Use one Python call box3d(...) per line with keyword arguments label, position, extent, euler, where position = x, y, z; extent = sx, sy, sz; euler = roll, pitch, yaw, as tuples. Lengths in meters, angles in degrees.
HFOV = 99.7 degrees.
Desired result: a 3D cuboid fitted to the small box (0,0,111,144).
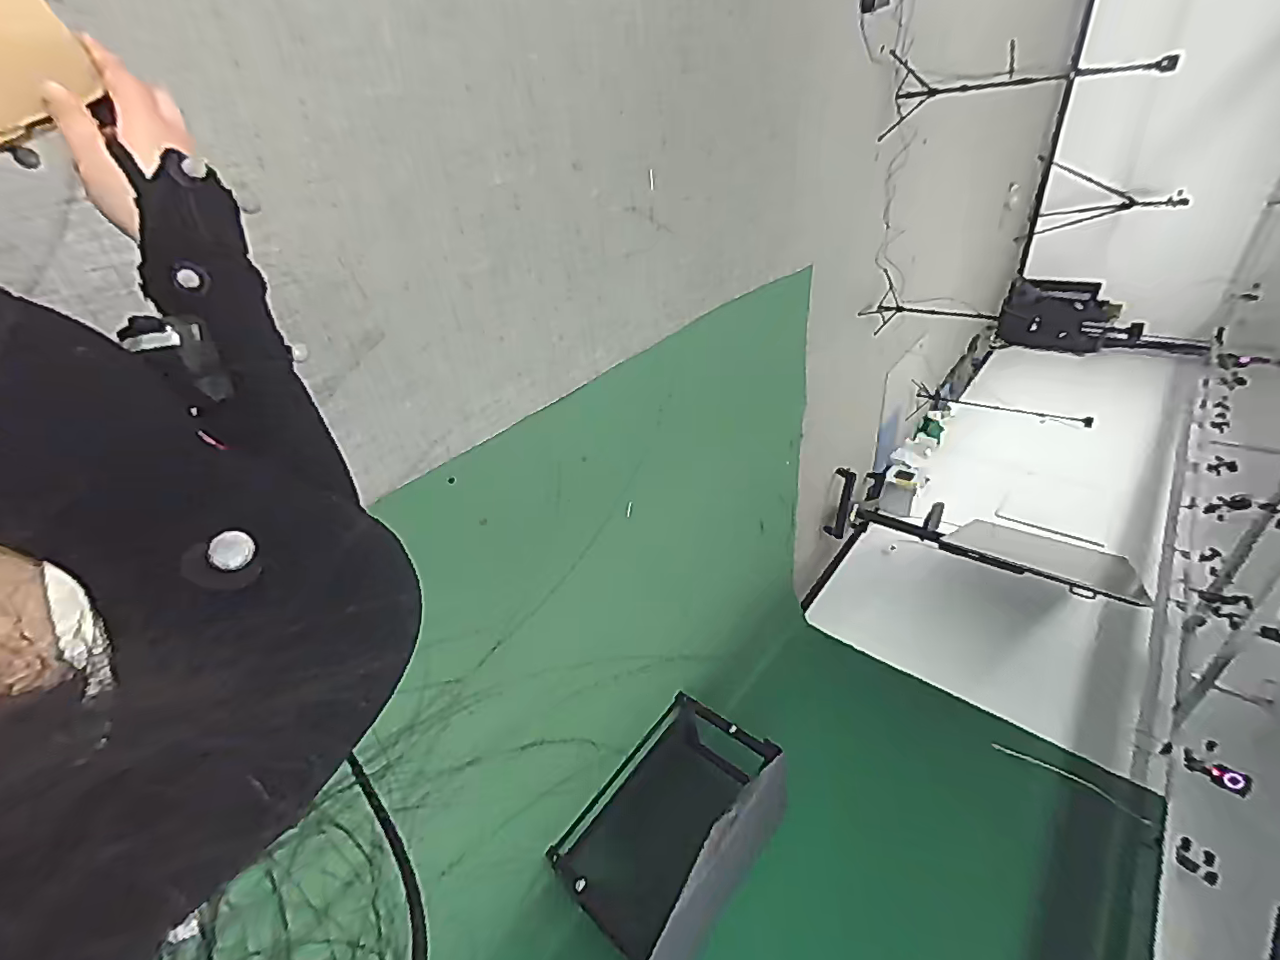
box3d(label="small box", position=(-0.488, -0.309, 0.332), extent=(0.168, 0.176, 0.179), euler=(-40, 136, -16))
